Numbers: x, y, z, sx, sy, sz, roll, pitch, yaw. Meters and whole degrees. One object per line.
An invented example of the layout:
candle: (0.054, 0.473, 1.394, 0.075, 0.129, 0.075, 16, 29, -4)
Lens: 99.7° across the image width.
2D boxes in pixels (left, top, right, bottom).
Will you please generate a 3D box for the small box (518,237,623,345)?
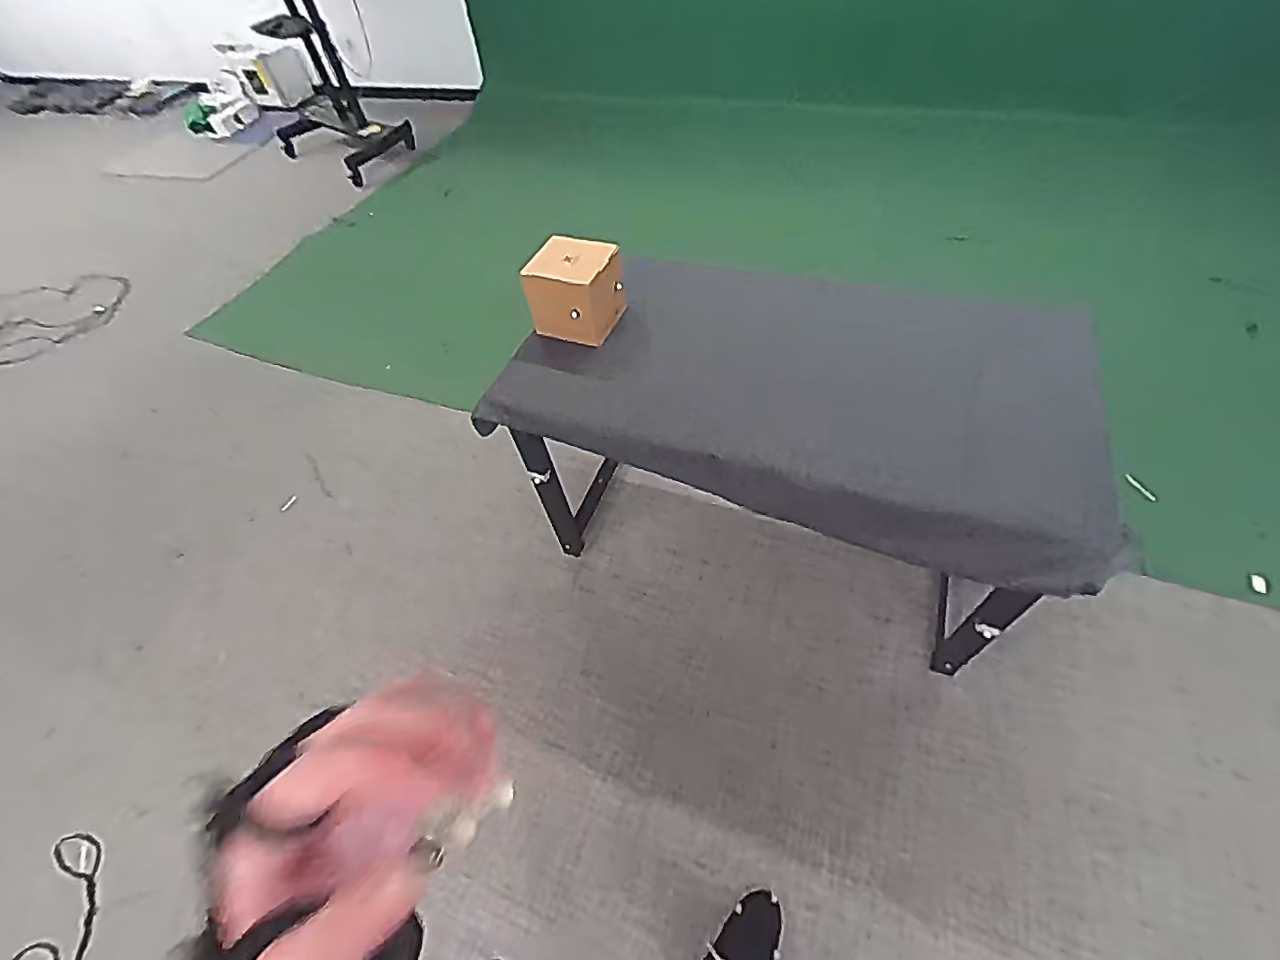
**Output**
small box: (-0.153, -0.441, 1.270, 0.179, 0.176, 0.168, 17, 55, 18)
